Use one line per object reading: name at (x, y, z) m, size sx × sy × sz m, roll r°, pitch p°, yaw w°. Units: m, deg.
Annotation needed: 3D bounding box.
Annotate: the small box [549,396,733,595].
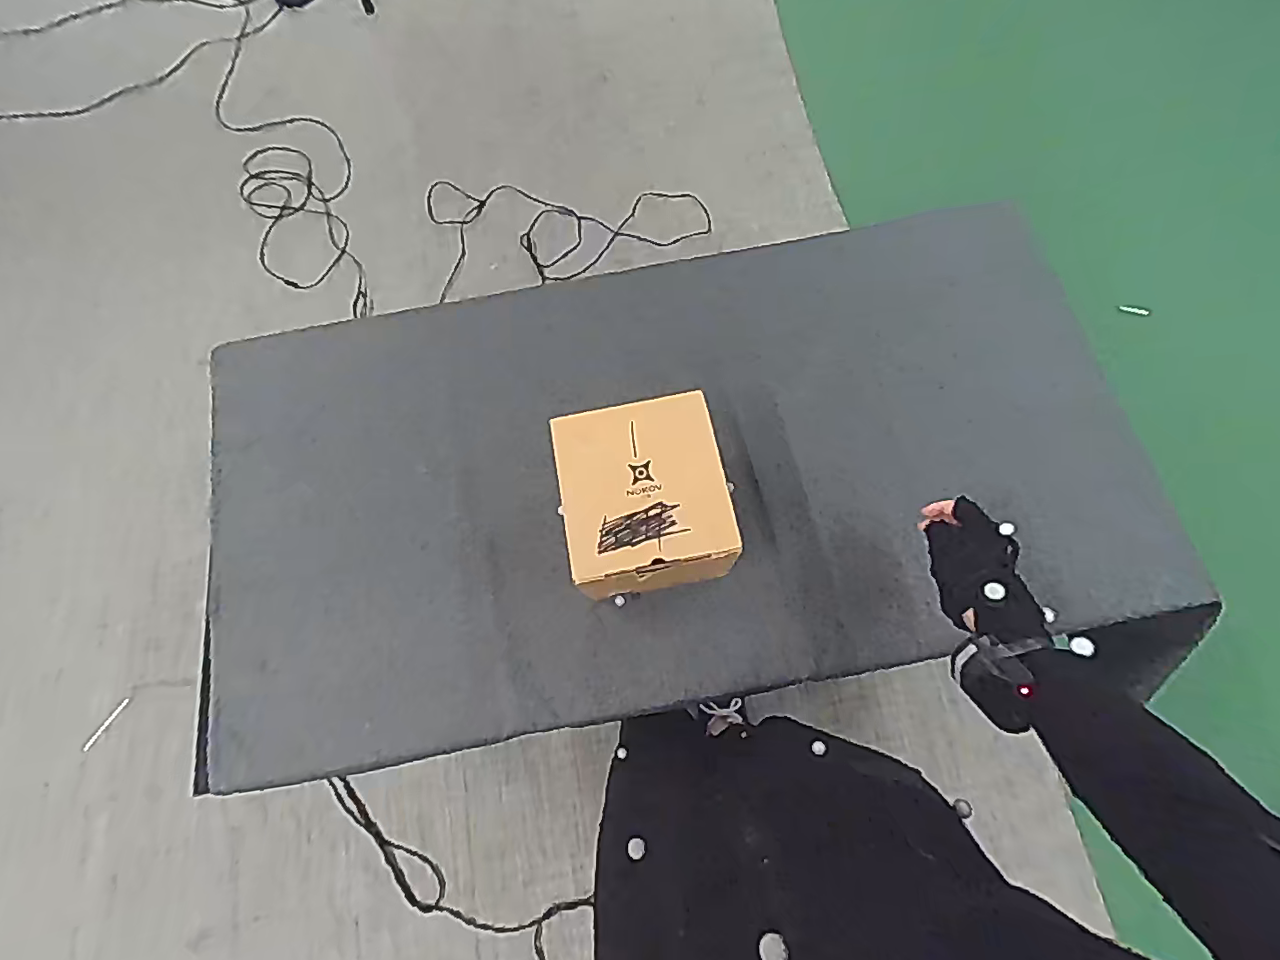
small box at (0.002, 0.031, 0.621) m, size 0.168 × 0.176 × 0.179 m, roll -11°, pitch 71°, yaw -1°
